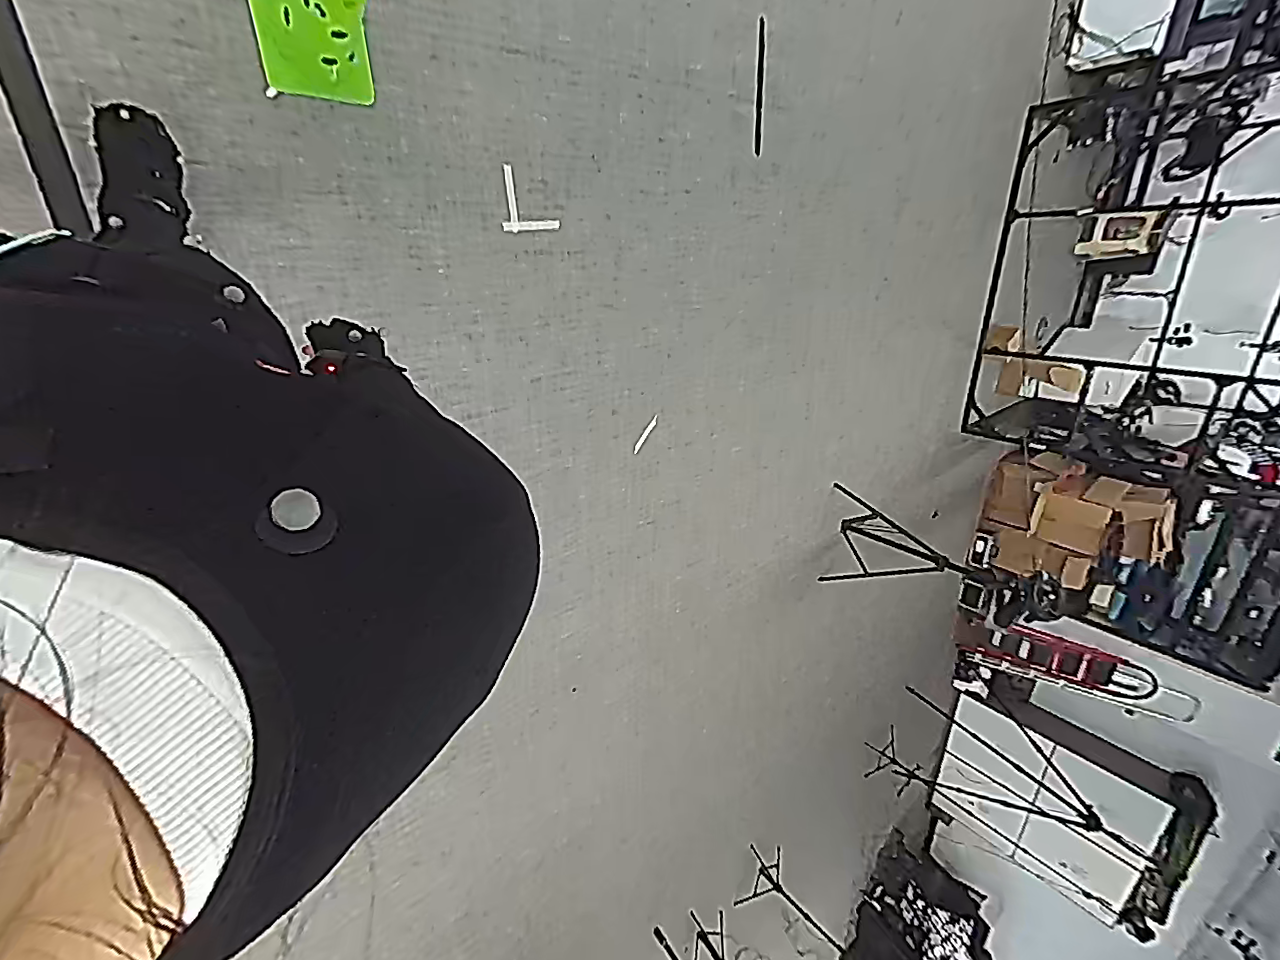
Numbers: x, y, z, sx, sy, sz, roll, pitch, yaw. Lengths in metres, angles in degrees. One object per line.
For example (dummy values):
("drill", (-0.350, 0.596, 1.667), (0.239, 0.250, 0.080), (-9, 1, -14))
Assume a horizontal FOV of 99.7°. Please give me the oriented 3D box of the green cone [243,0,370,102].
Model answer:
("green cone", (-0.543, -0.829, 0.946), (0.202, 0.368, 0.200), (-19, 118, -37))
